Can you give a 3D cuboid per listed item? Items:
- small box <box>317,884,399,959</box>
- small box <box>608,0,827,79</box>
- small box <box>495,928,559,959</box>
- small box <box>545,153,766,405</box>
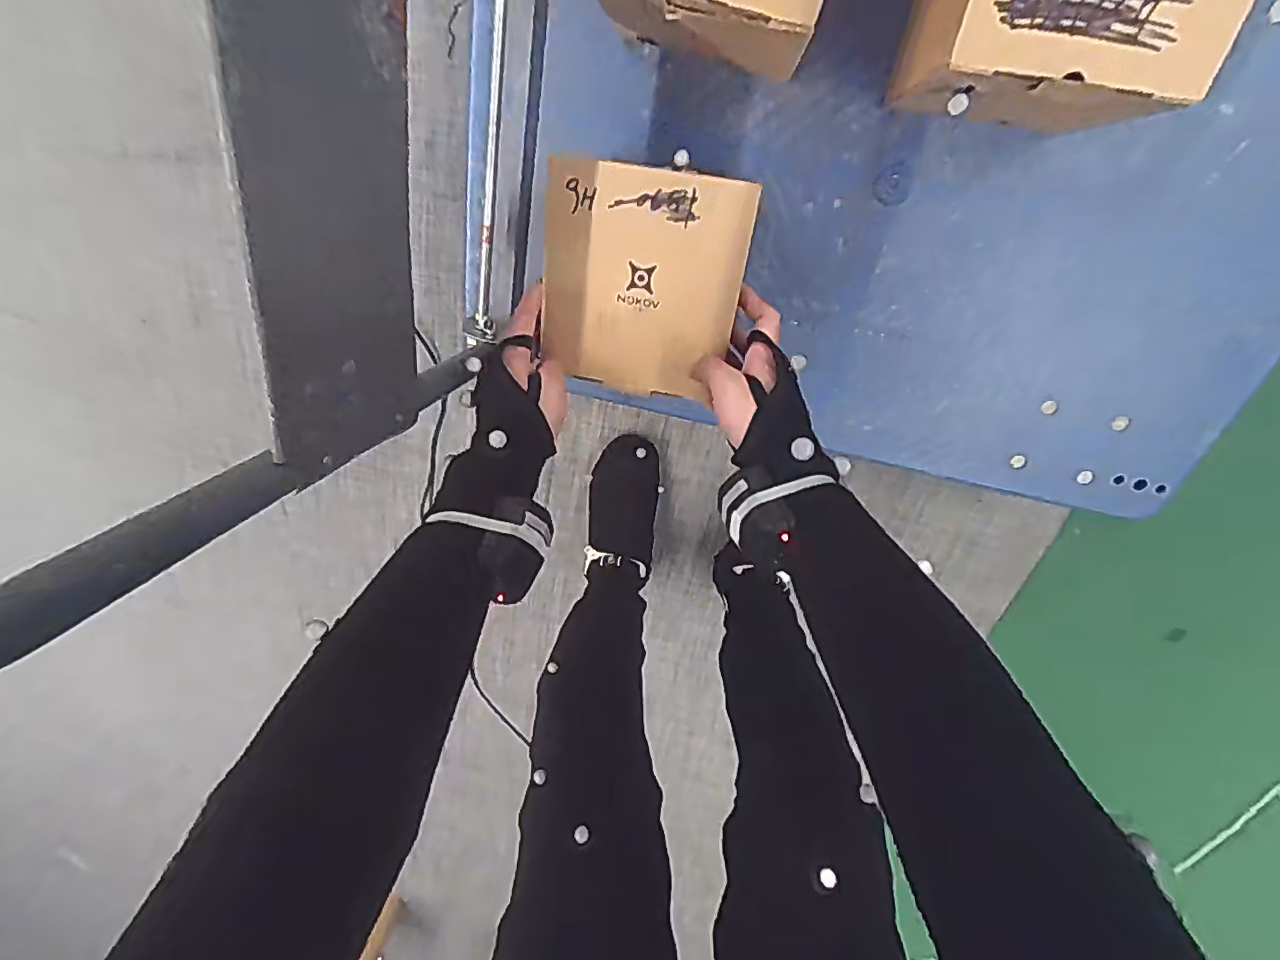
[{"bbox_3d":[-0.850,1.364,1.621,0.168,0.176,0.179,22,116,-6],"label":"small box"},{"bbox_3d":[0.072,-0.426,0.394,0.168,0.176,0.179,15,117,0],"label":"small box"},{"bbox_3d":[-0.355,1.489,1.617,0.179,0.176,0.168,18,117,-1],"label":"small box"},{"bbox_3d":[0.017,-0.194,0.512,0.168,0.176,0.179,12,120,4],"label":"small box"}]
